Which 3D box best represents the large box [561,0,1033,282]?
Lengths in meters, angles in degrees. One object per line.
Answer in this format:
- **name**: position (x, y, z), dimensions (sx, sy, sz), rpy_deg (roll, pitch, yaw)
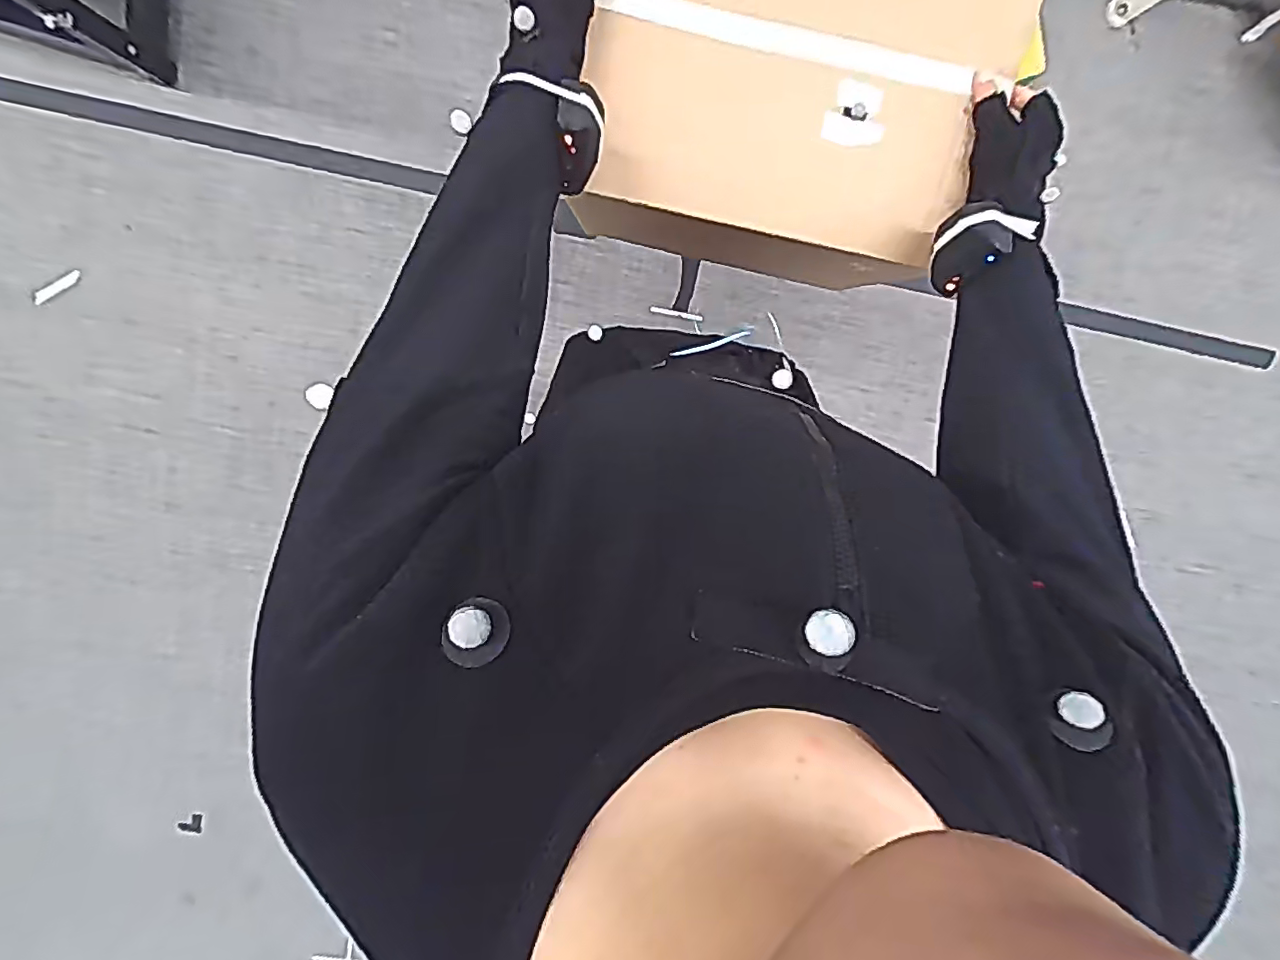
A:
- **large box**: position (0.142, -0.442, 0.640), dimensions (0.408, 0.320, 0.320), rpy_deg (12, 107, -4)
